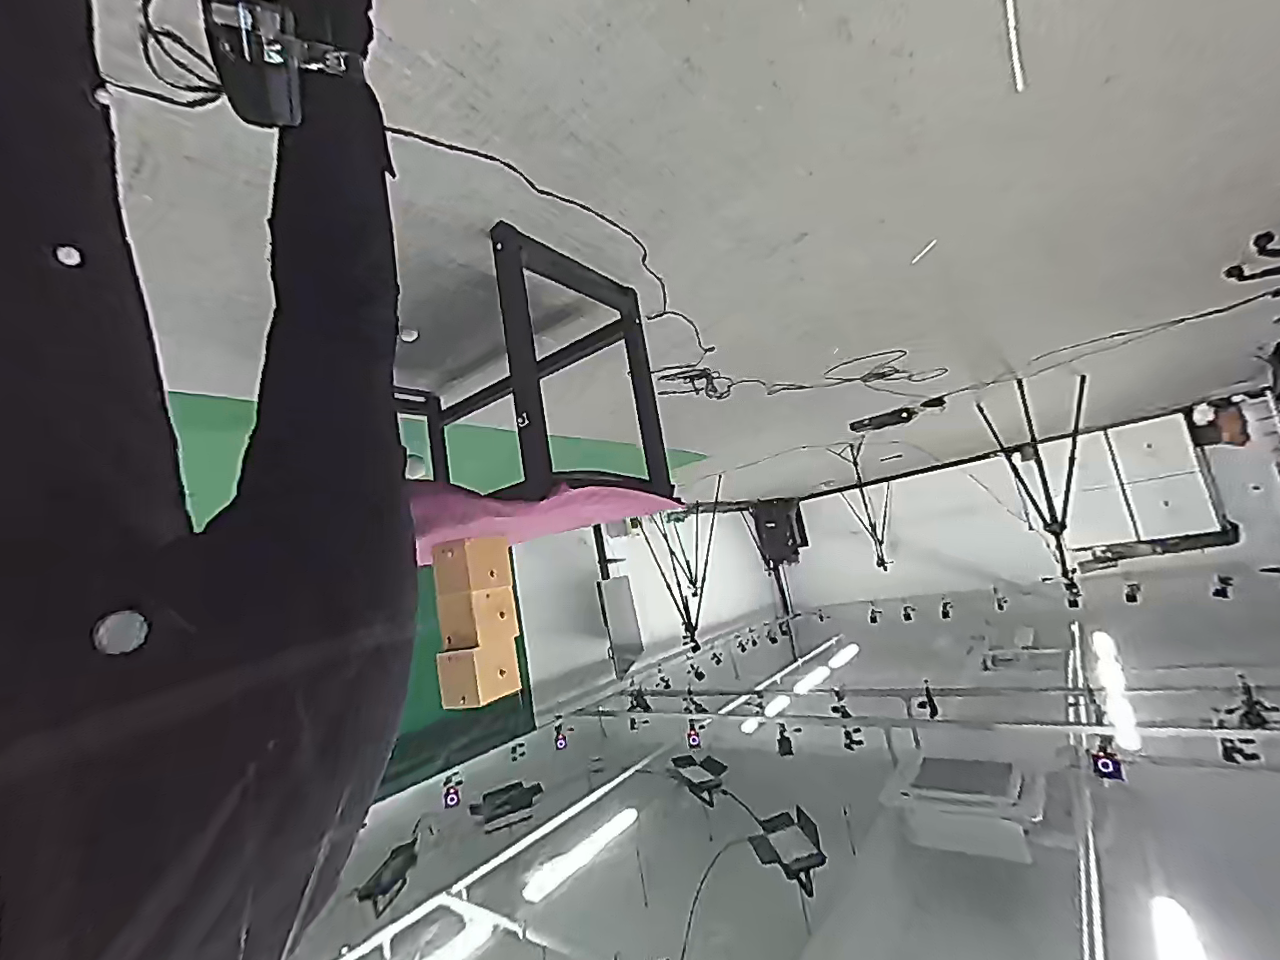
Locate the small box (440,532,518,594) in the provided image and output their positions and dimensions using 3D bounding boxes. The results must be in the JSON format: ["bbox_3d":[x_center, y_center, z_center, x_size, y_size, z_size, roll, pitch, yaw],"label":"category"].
[{"bbox_3d":[-0.521,0.265,1.750,0.168,0.176,0.179,-16,169,30],"label":"small box"}]

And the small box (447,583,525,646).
[{"bbox_3d":[-0.497,0.424,1.731,0.179,0.176,0.168,-16,170,32],"label":"small box"}]

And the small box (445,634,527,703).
[{"bbox_3d":[-0.481,0.583,1.687,0.168,0.176,0.179,-16,171,29],"label":"small box"}]
